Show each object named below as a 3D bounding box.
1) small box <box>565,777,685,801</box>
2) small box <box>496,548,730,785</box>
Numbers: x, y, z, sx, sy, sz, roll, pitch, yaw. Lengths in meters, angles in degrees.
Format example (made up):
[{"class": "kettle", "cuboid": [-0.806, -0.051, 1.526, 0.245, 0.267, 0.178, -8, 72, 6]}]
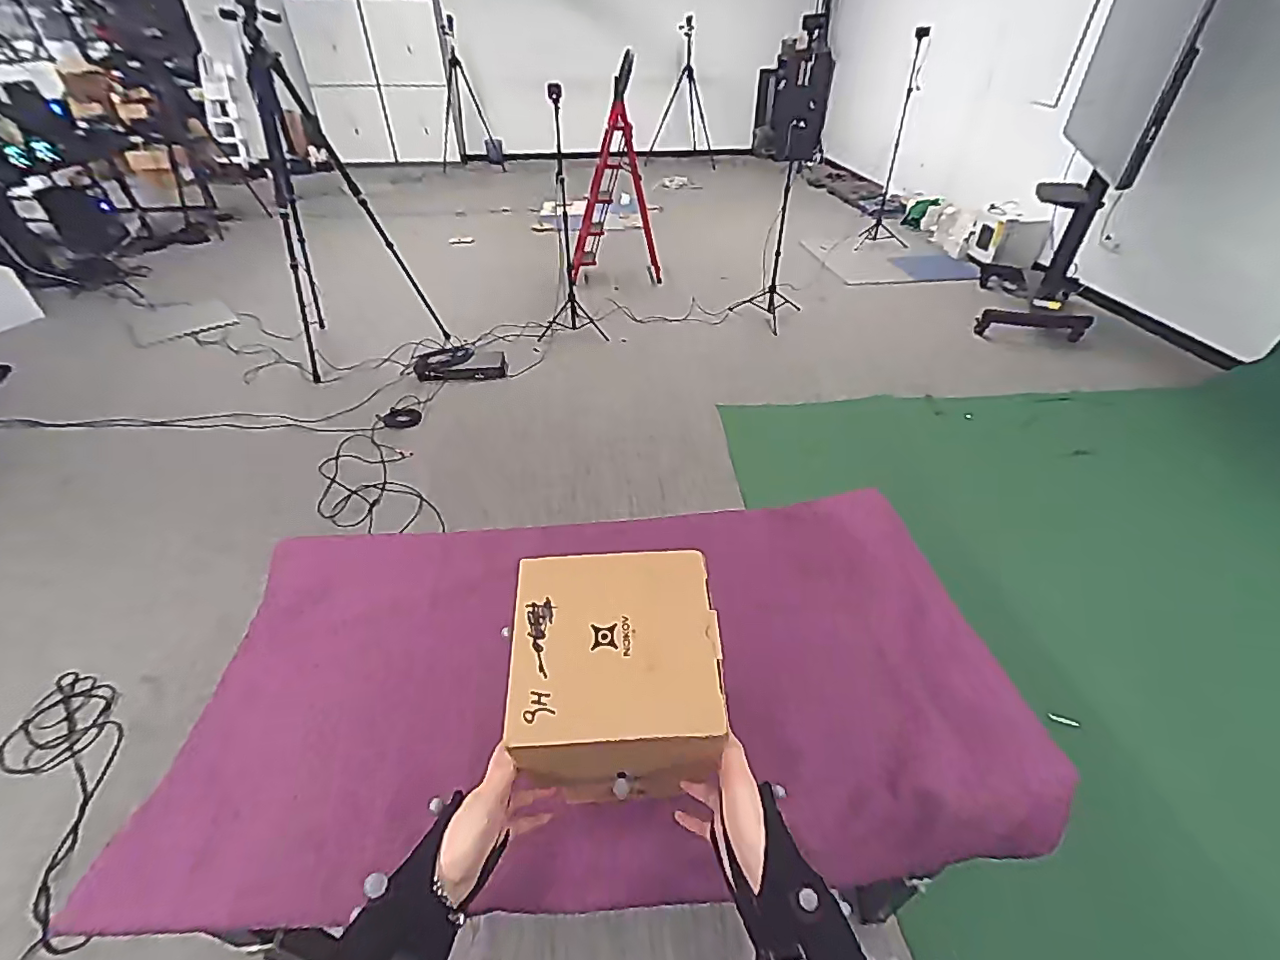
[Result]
[{"class": "small box", "cuboid": [-0.026, 0.310, 0.741, 0.168, 0.176, 0.179, -3, 40, -3]}, {"class": "small box", "cuboid": [-0.024, 0.179, 0.511, 0.179, 0.176, 0.168, -1, 50, -2]}]
